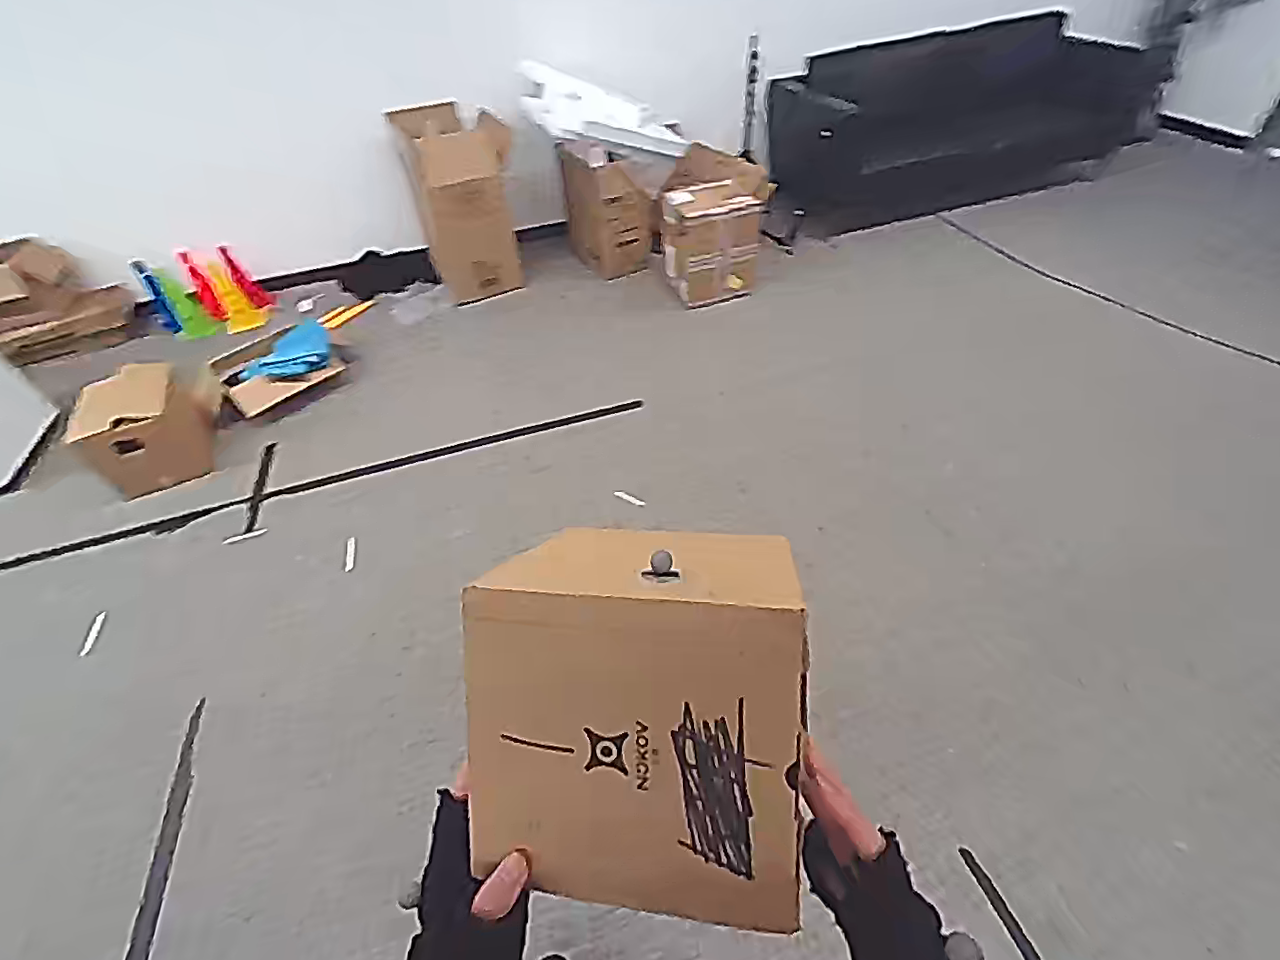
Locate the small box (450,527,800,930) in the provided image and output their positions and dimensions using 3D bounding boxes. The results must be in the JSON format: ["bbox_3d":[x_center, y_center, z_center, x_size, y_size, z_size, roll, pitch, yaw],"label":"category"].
[{"bbox_3d":[0.003,0.126,0.346,0.179,0.168,0.176,1,5,13],"label":"small box"}]
